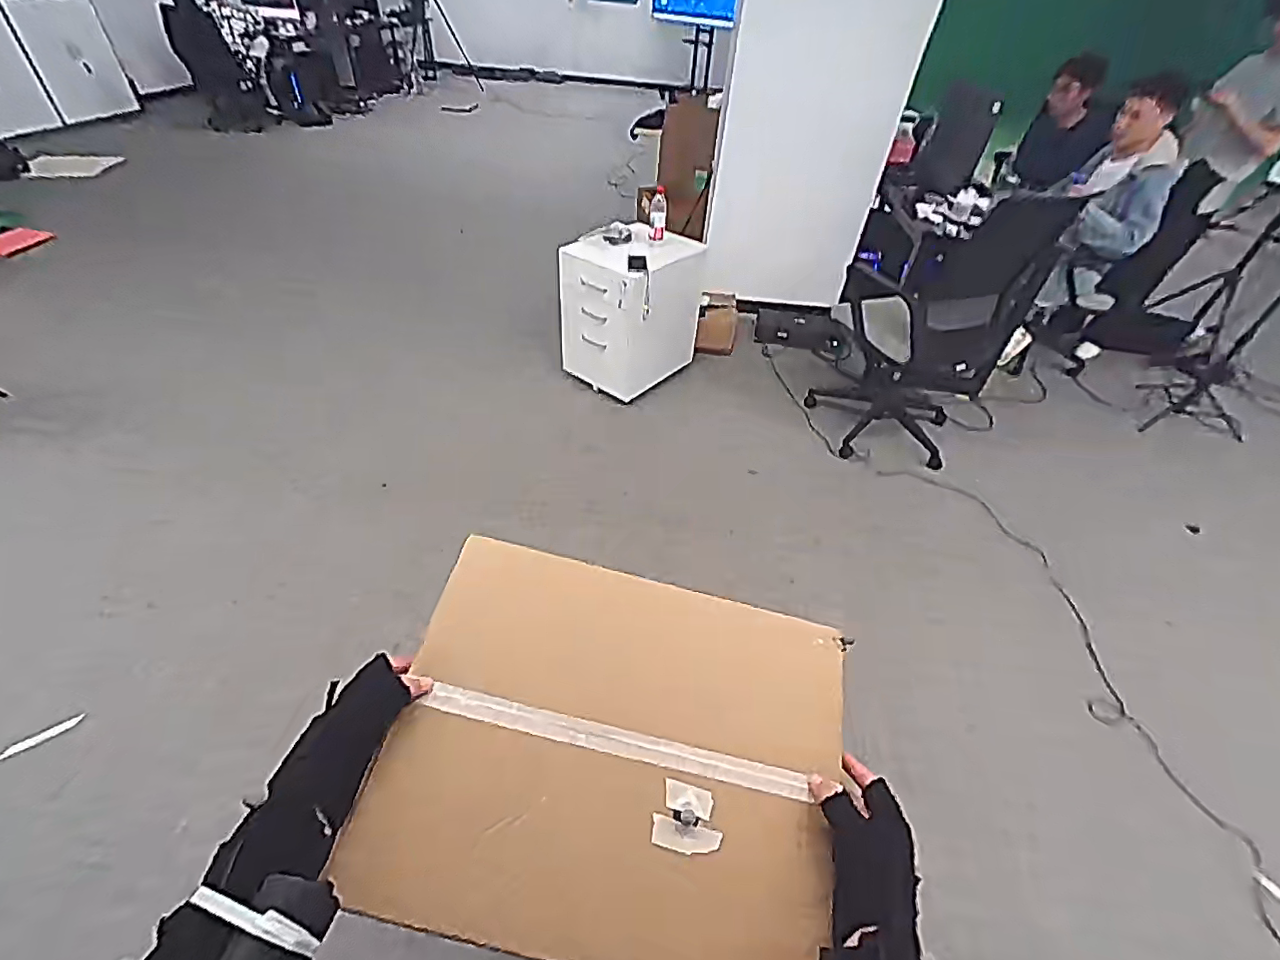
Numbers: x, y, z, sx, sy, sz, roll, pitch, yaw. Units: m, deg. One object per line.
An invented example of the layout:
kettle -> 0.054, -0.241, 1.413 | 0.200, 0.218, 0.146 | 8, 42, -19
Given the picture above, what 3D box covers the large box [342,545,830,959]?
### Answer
large box -> -0.038, 0.315, 0.629 | 0.408, 0.320, 0.320 | 14, 58, -1
